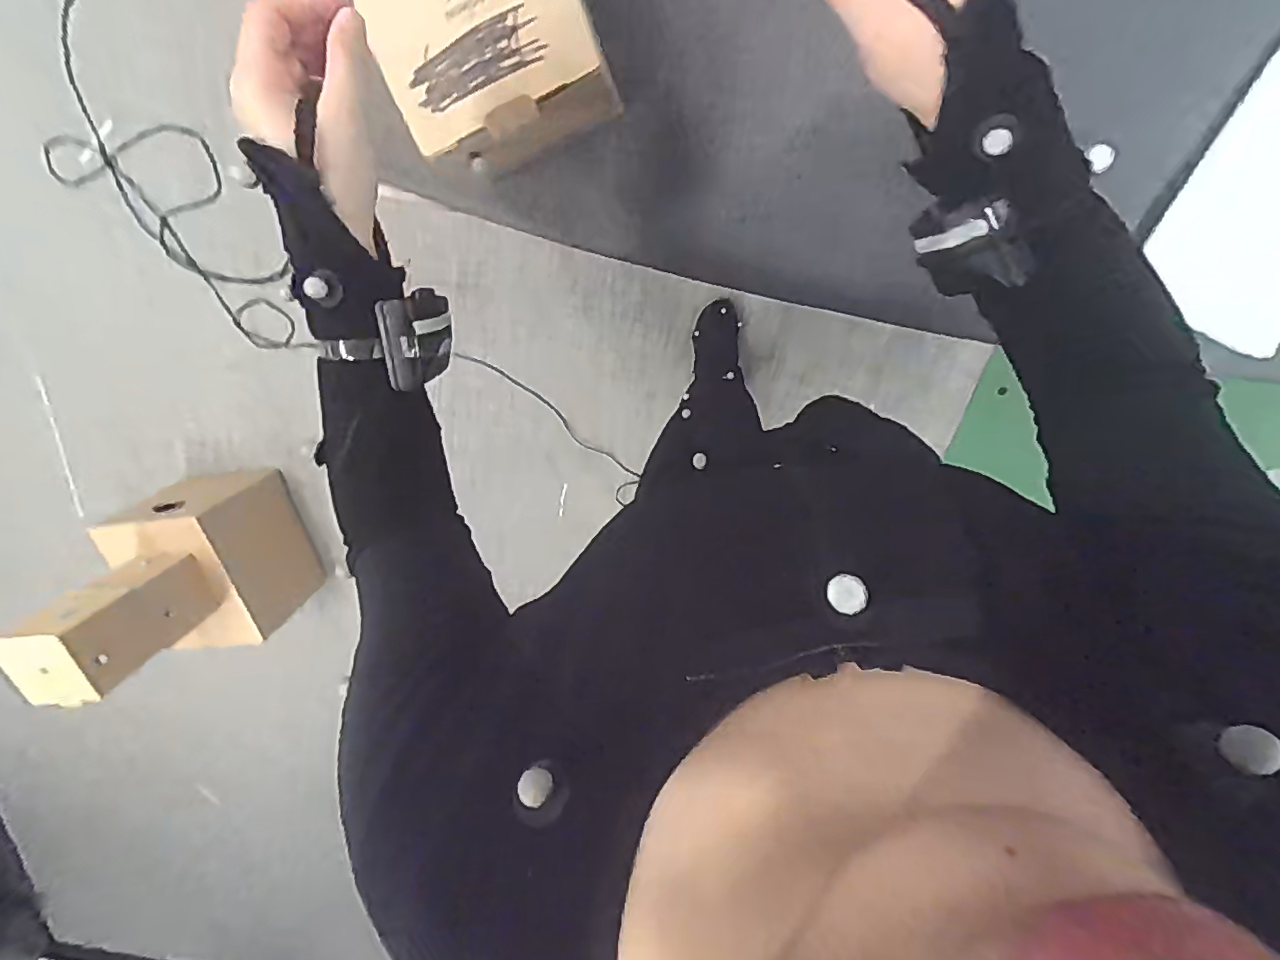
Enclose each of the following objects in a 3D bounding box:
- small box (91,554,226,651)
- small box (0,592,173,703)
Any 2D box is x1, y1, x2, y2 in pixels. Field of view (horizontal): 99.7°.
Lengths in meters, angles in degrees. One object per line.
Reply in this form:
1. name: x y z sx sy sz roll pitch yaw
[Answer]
1. small box: -1.194 0.307 1.349 0.168 0.176 0.179 -6 113 6
2. small box: -1.205 0.361 1.195 0.168 0.176 0.179 -6 114 6
